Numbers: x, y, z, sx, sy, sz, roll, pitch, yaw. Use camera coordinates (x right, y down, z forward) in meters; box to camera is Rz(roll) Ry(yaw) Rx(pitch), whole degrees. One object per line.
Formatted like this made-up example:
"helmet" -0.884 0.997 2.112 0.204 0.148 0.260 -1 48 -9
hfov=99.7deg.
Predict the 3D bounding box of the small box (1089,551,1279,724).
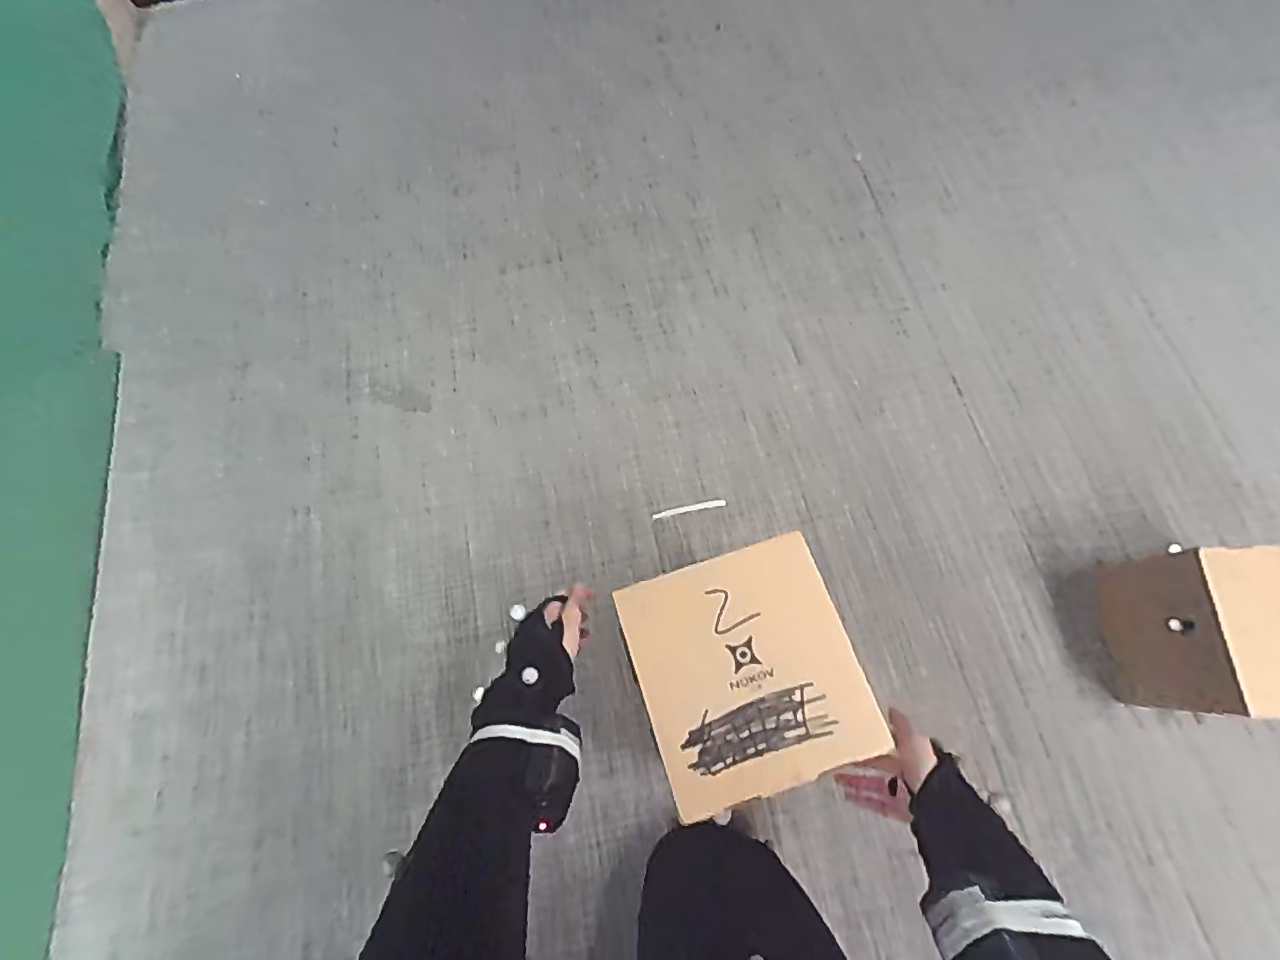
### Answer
"small box" 0.684 0.189 0.637 0.168 0.176 0.179 0 70 3

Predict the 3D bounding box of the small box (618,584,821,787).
"small box" 0.085 0.241 0.644 0.179 0.176 0.168 -17 69 -4
